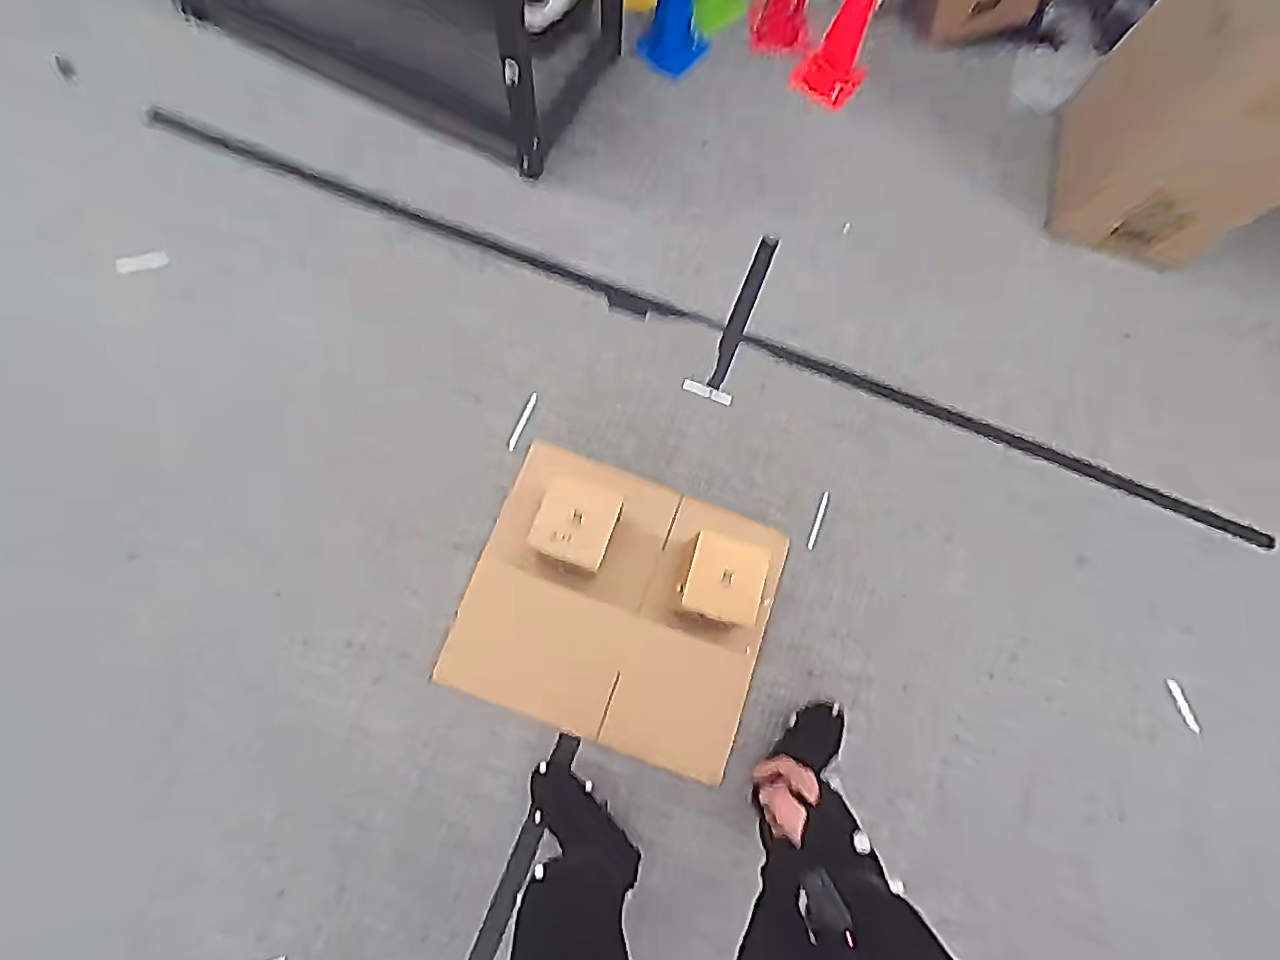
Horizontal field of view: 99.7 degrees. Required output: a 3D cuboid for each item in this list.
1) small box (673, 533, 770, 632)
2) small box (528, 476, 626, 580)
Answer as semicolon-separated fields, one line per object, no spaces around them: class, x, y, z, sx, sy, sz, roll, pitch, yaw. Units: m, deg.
small box;0.180;0.240;1.242;0.168;0.176;0.179;17;74;0
small box;-0.141;0.116;1.243;0.168;0.176;0.179;20;74;2
